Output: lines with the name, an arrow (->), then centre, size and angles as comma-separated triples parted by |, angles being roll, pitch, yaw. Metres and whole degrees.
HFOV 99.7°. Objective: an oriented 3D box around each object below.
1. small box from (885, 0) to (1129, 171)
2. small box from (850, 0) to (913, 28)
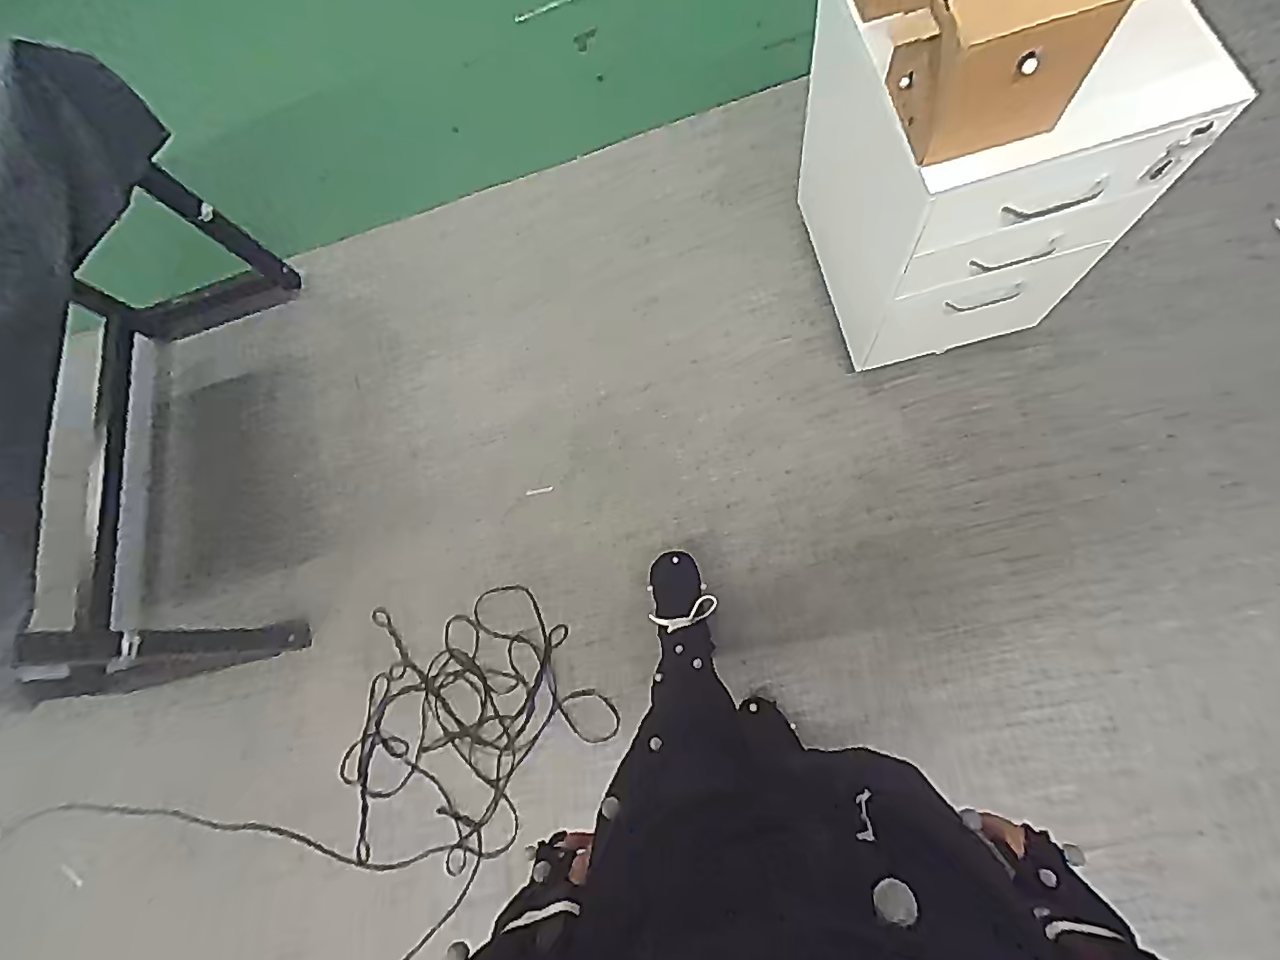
small box -> 0.438, -0.535, 0.681 | 0.179, 0.176, 0.168 | -13, 73, 8
small box -> 0.390, -0.795, 0.763 | 0.179, 0.176, 0.168 | -12, 74, 7
